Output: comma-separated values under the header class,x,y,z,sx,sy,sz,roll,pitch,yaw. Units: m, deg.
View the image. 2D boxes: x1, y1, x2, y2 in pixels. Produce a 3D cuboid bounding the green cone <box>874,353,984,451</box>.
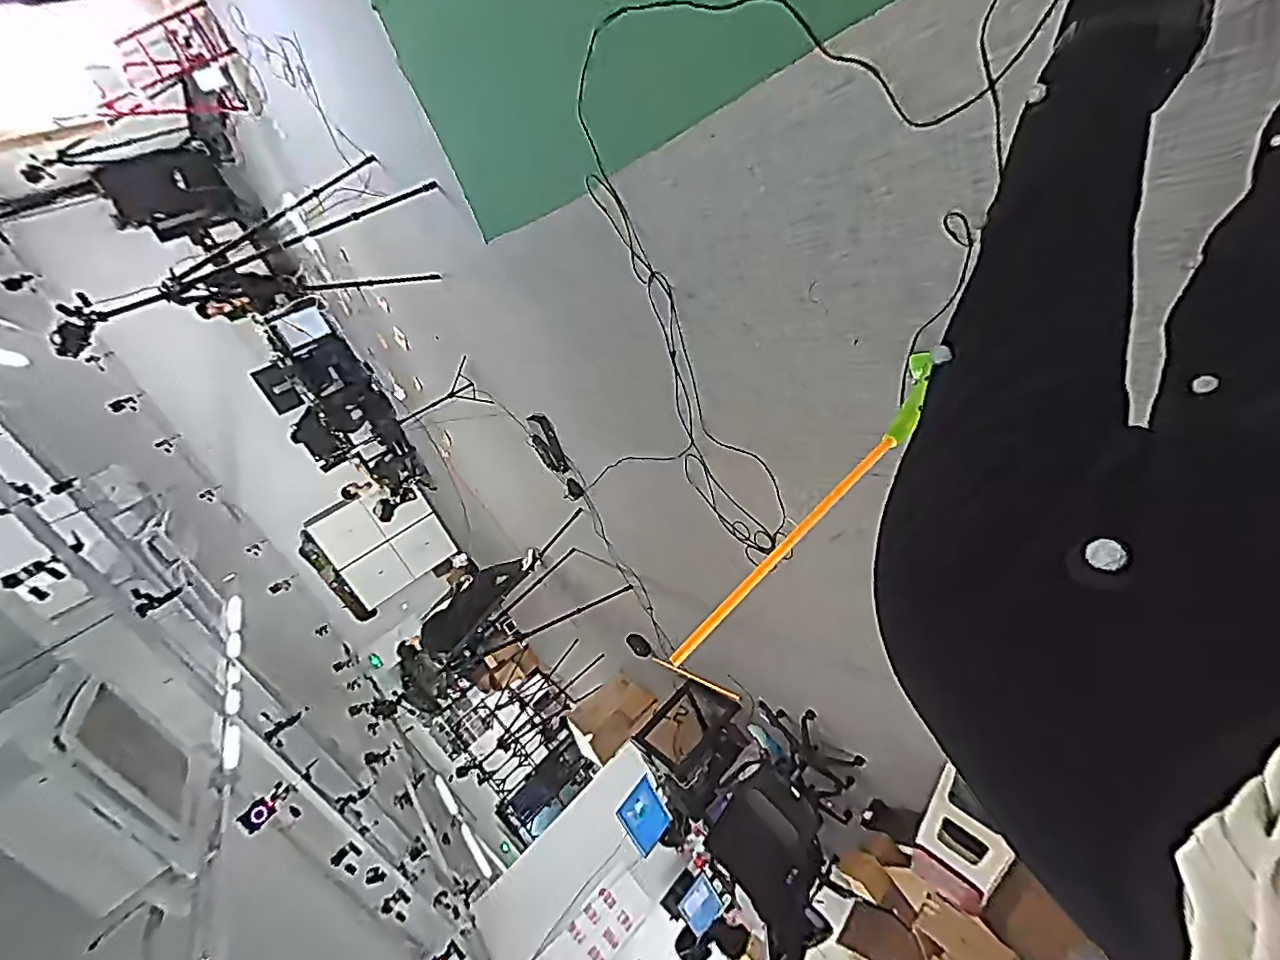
class,x,y,z,sx,sy,sz,roll,pitch,yaw
green cone,0.793,-0.194,1.555,0.202,0.368,0.200,8,129,56
